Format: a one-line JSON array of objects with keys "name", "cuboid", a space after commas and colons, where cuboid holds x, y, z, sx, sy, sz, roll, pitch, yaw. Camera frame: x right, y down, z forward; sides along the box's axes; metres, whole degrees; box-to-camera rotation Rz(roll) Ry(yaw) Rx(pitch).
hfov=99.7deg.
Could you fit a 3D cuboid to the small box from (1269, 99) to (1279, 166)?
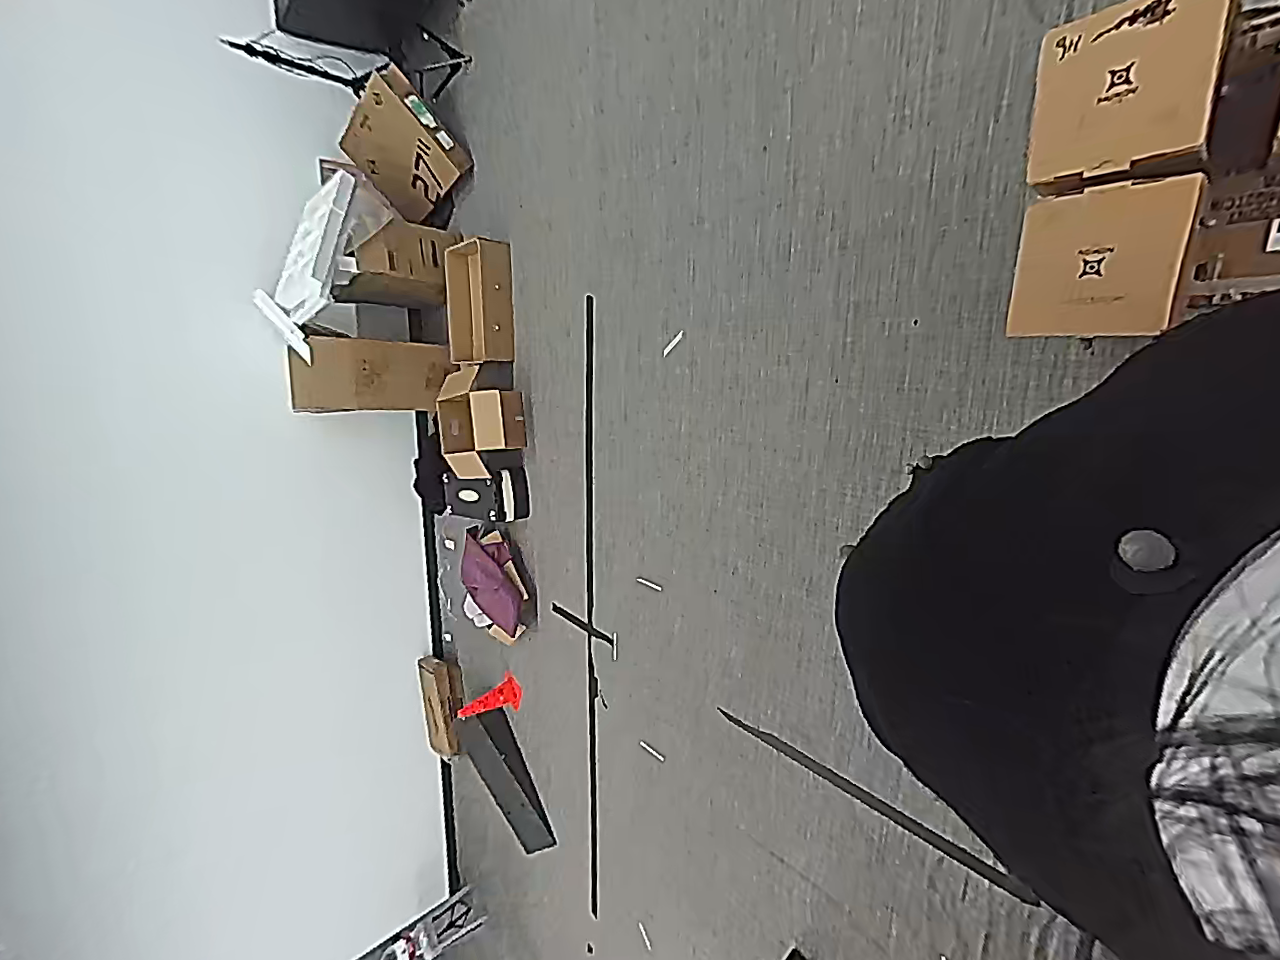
[{"name": "small box", "cuboid": [0.757, -0.430, 0.525, 0.168, 0.176, 0.179, 15, 111, 44]}]
